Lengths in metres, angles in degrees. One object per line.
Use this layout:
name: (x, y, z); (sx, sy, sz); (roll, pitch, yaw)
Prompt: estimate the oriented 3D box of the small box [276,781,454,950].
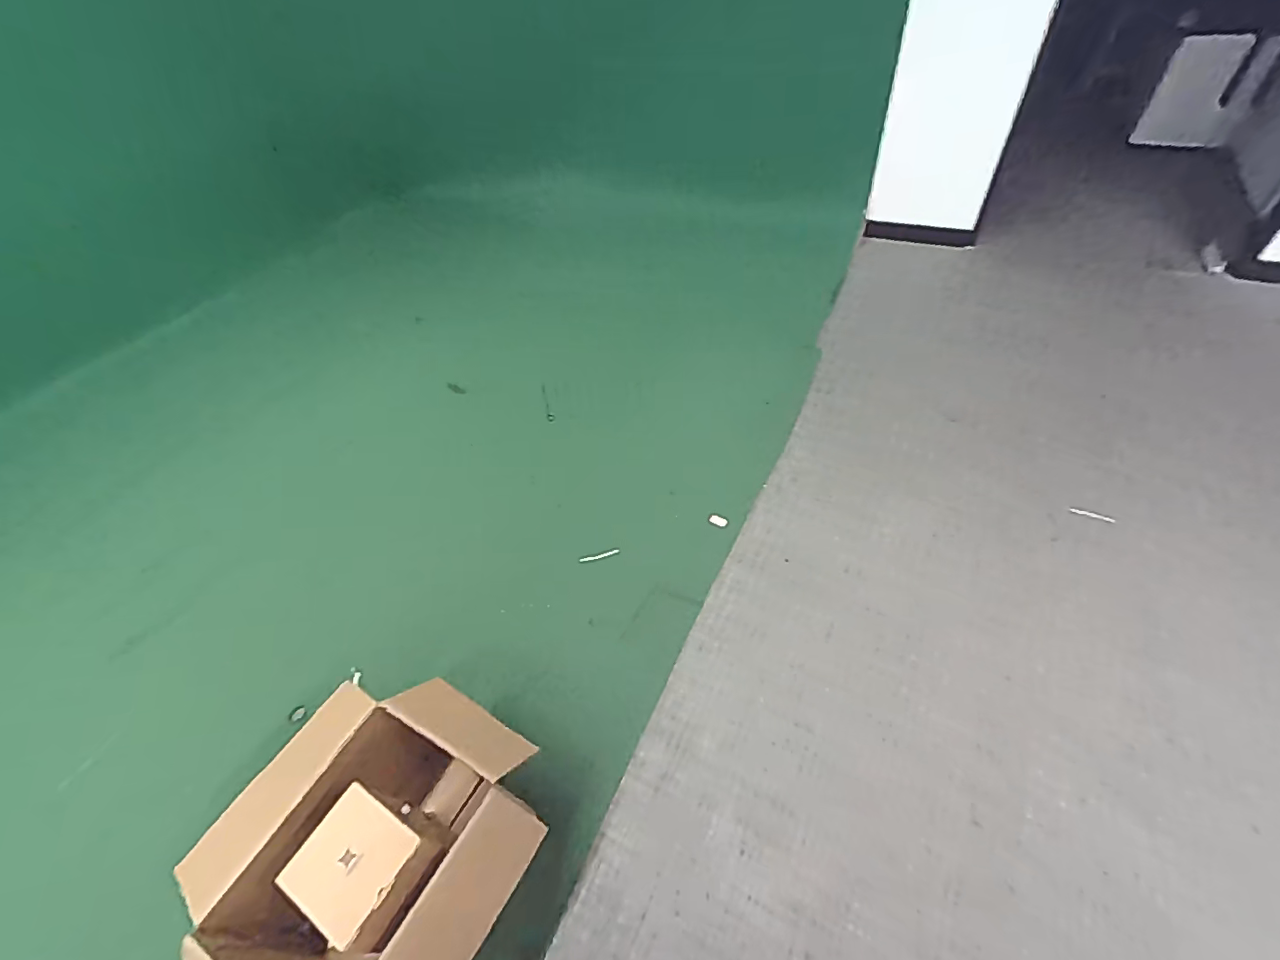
small box: (-0.457, 0.659, 0.923); (0.179, 0.176, 0.168); (21, 55, 24)
